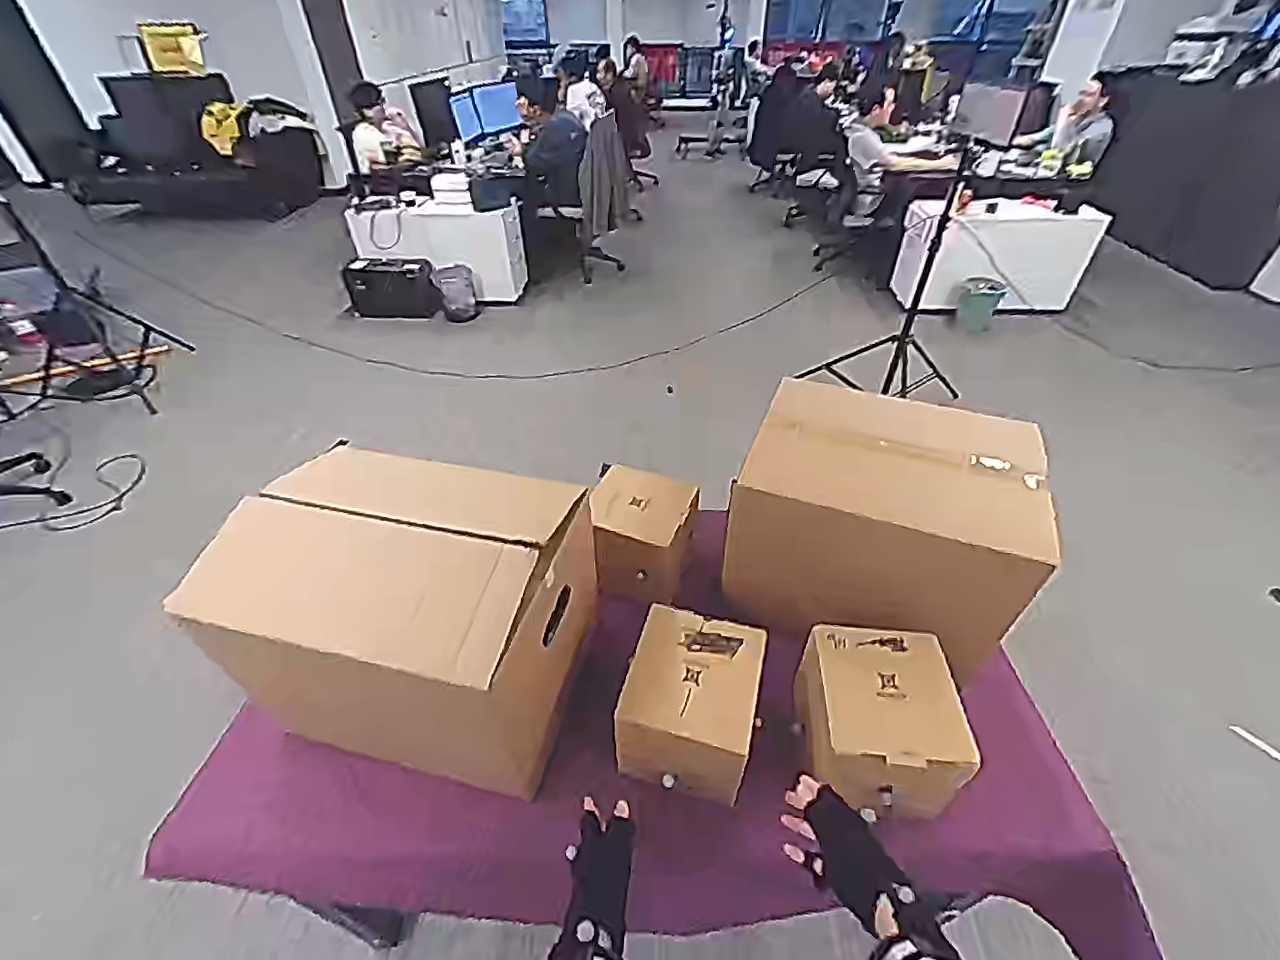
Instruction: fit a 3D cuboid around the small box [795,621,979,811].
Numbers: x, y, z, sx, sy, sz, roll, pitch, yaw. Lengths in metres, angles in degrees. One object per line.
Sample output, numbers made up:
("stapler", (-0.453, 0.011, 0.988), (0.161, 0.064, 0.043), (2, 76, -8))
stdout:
("small box", (0.311, 0.317, 0.724), (0.168, 0.176, 0.179), (4, 41, 5))
